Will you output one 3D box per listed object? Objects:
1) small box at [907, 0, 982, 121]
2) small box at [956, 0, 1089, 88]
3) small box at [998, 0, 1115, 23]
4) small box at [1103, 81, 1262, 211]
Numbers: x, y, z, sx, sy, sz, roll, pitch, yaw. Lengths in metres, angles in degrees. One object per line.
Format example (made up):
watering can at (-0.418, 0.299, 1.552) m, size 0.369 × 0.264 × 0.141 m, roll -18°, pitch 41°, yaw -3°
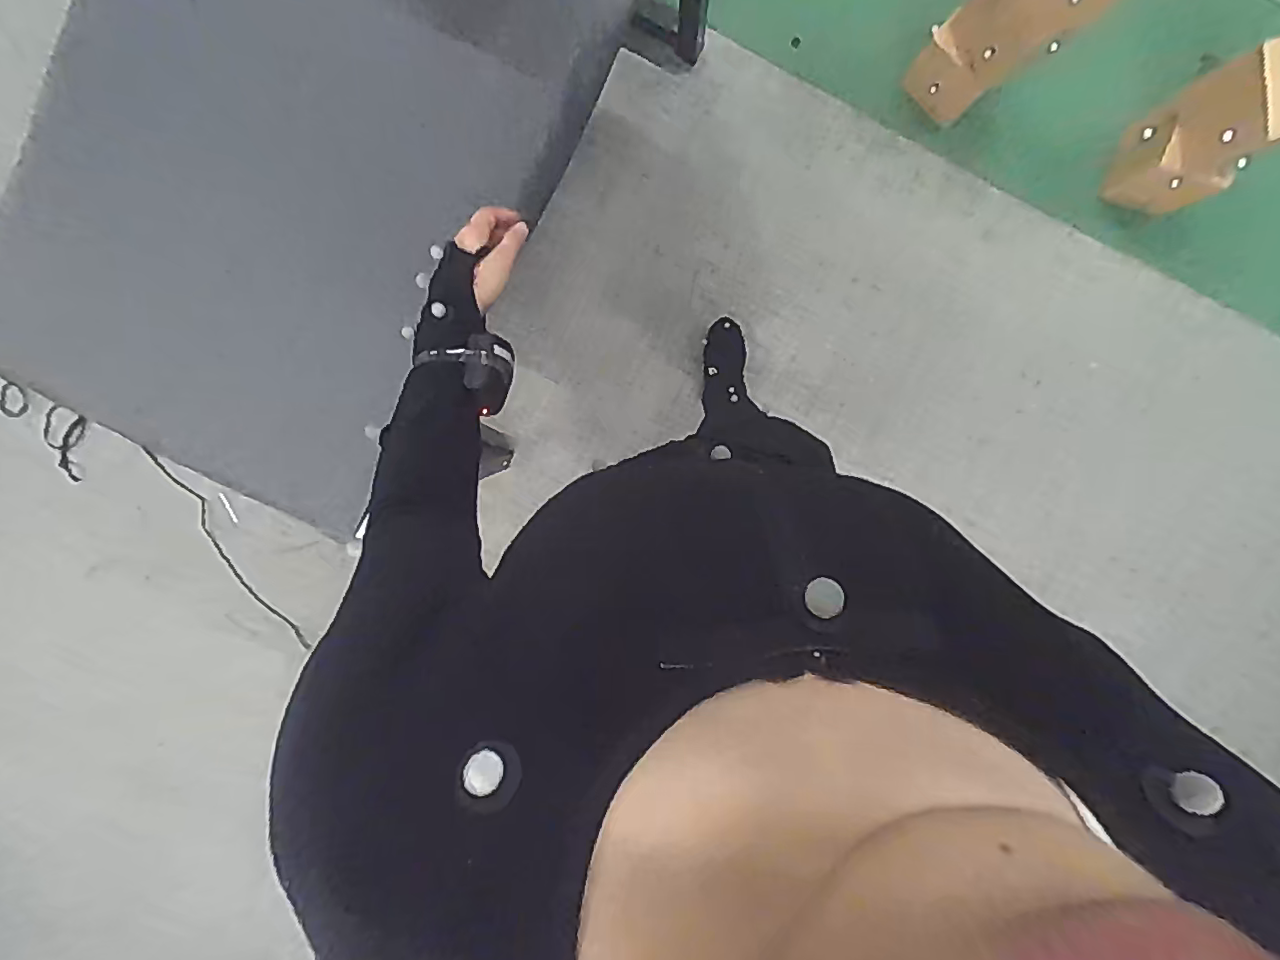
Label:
small box at (0.743, -0.974, 1.229) m, size 0.168 × 0.176 × 0.179 m, roll 43°, pitch 97°, yaw -5°
small box at (0.764, -0.932, 1.071) m, size 0.179 × 0.176 × 0.168 m, roll -26°, pitch 98°, yaw 4°
small box at (0.752, -0.913, 0.908) m, size 0.179 × 0.176 × 0.168 m, roll 4°, pitch 99°, yaw 2°
small box at (1.234, -0.759, 1.246) m, size 0.168 × 0.176 × 0.179 m, roll 18°, pitch 97°, yaw -1°
